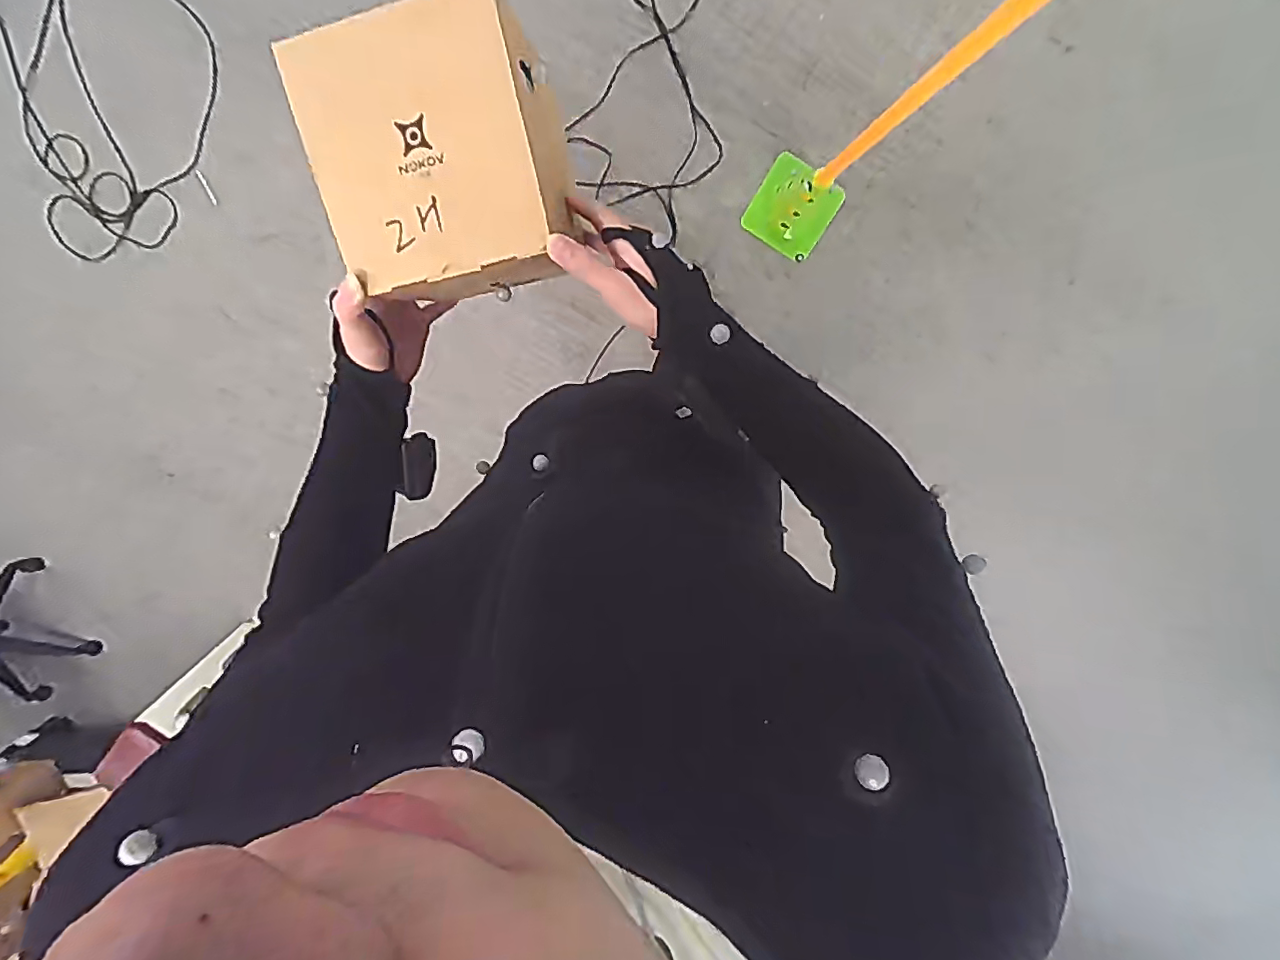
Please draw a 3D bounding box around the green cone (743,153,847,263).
[{"bbox_3d":[0.370,-0.633,1.195,0.202,0.368,0.200,31,107,-3],"label":"green cone"}]
